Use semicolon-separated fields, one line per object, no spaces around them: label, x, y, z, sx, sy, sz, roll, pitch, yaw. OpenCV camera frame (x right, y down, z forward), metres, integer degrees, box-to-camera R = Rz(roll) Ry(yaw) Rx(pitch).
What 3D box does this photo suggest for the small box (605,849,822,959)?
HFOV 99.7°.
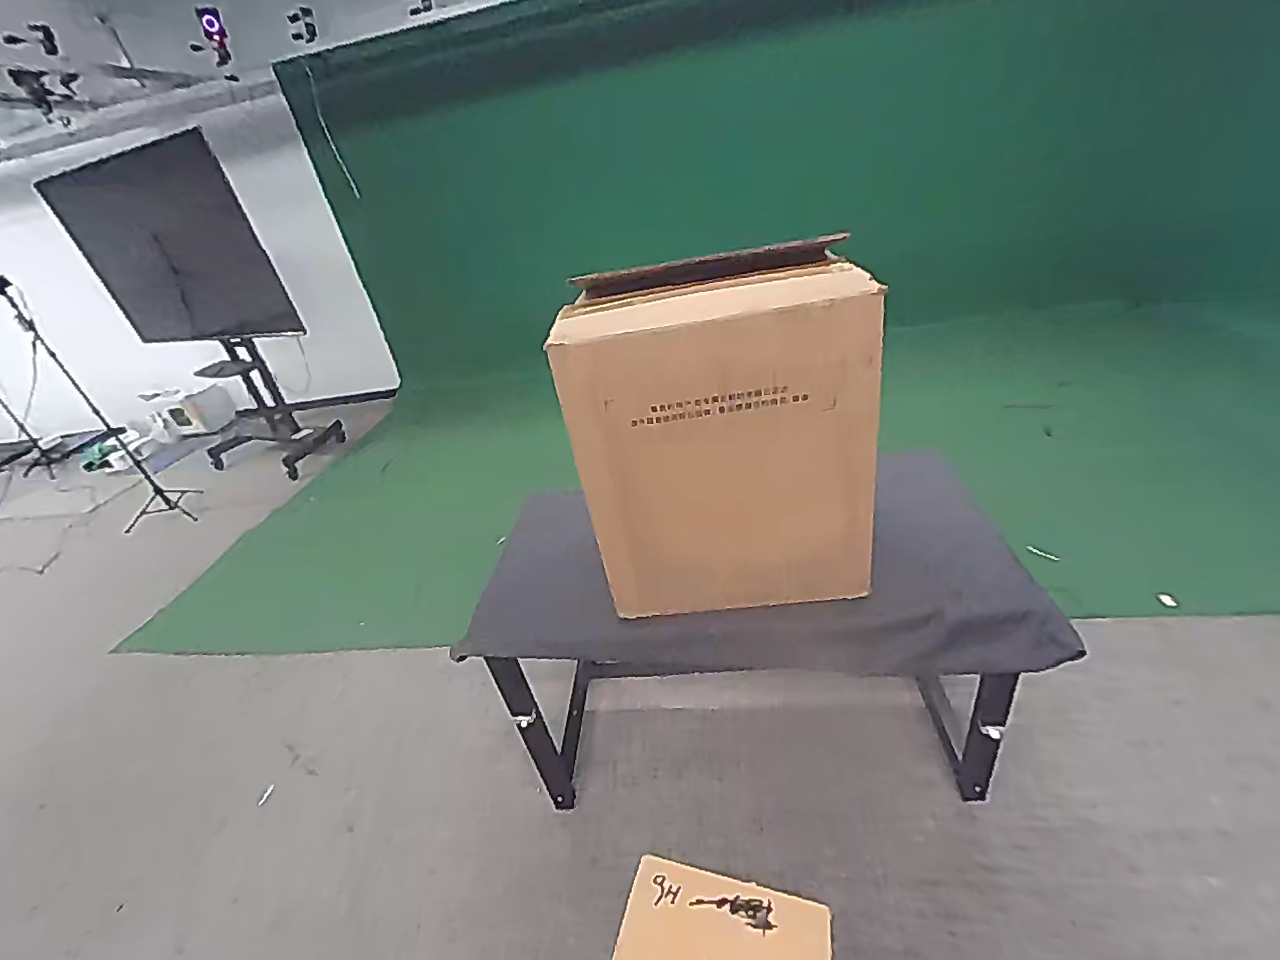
small box;0.054;0.457;0.439;0.168;0.176;0.179;5;27;16
